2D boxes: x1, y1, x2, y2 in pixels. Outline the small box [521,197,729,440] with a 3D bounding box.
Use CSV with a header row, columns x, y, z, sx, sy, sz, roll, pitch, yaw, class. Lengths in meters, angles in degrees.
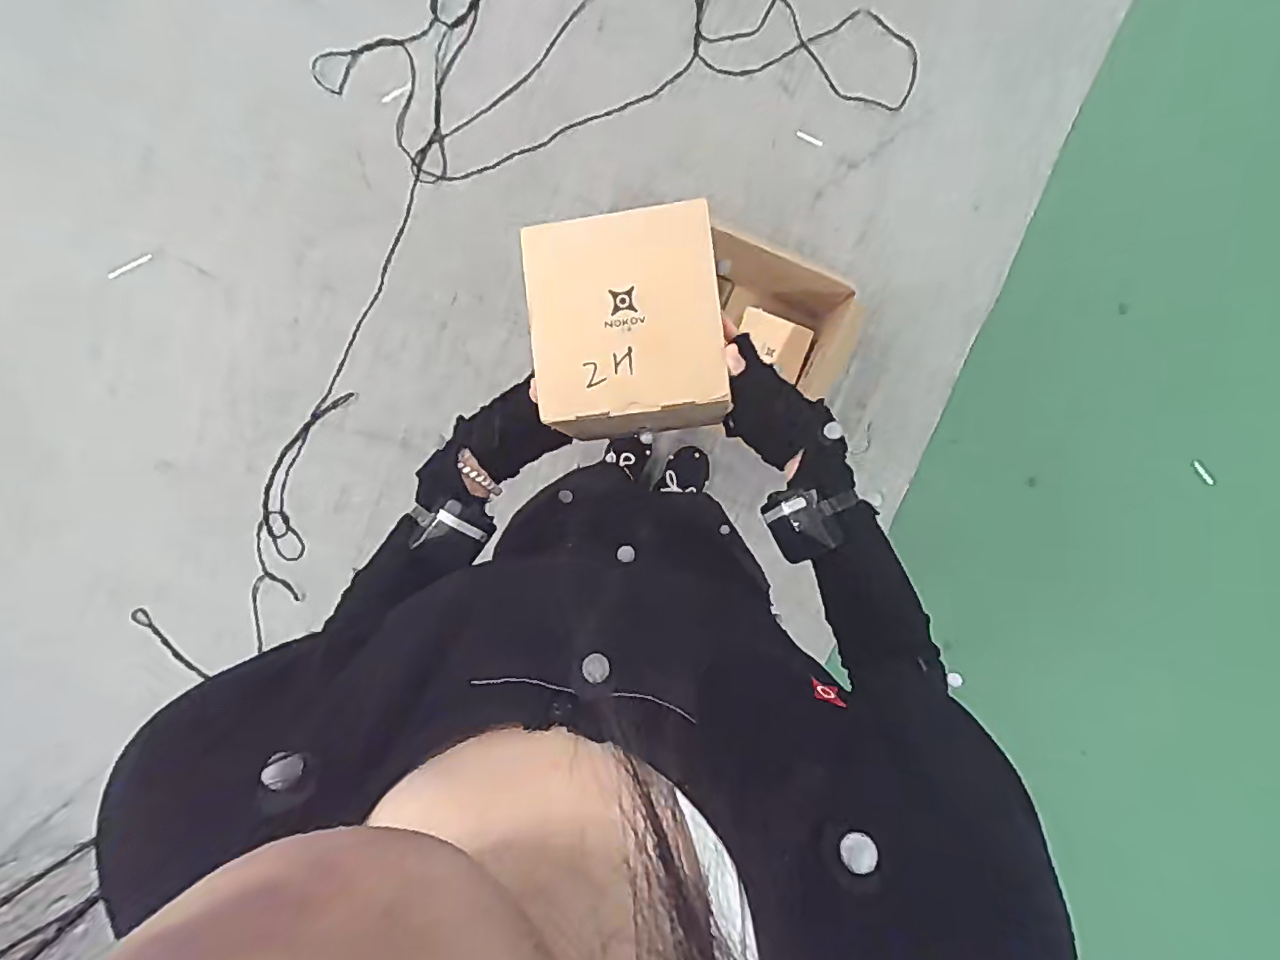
x,y,z,sx,sy,sz,roll,pitch,yaw,class
-0.008,-0.141,0.535,0.168,0.176,0.179,-6,88,6,small box
